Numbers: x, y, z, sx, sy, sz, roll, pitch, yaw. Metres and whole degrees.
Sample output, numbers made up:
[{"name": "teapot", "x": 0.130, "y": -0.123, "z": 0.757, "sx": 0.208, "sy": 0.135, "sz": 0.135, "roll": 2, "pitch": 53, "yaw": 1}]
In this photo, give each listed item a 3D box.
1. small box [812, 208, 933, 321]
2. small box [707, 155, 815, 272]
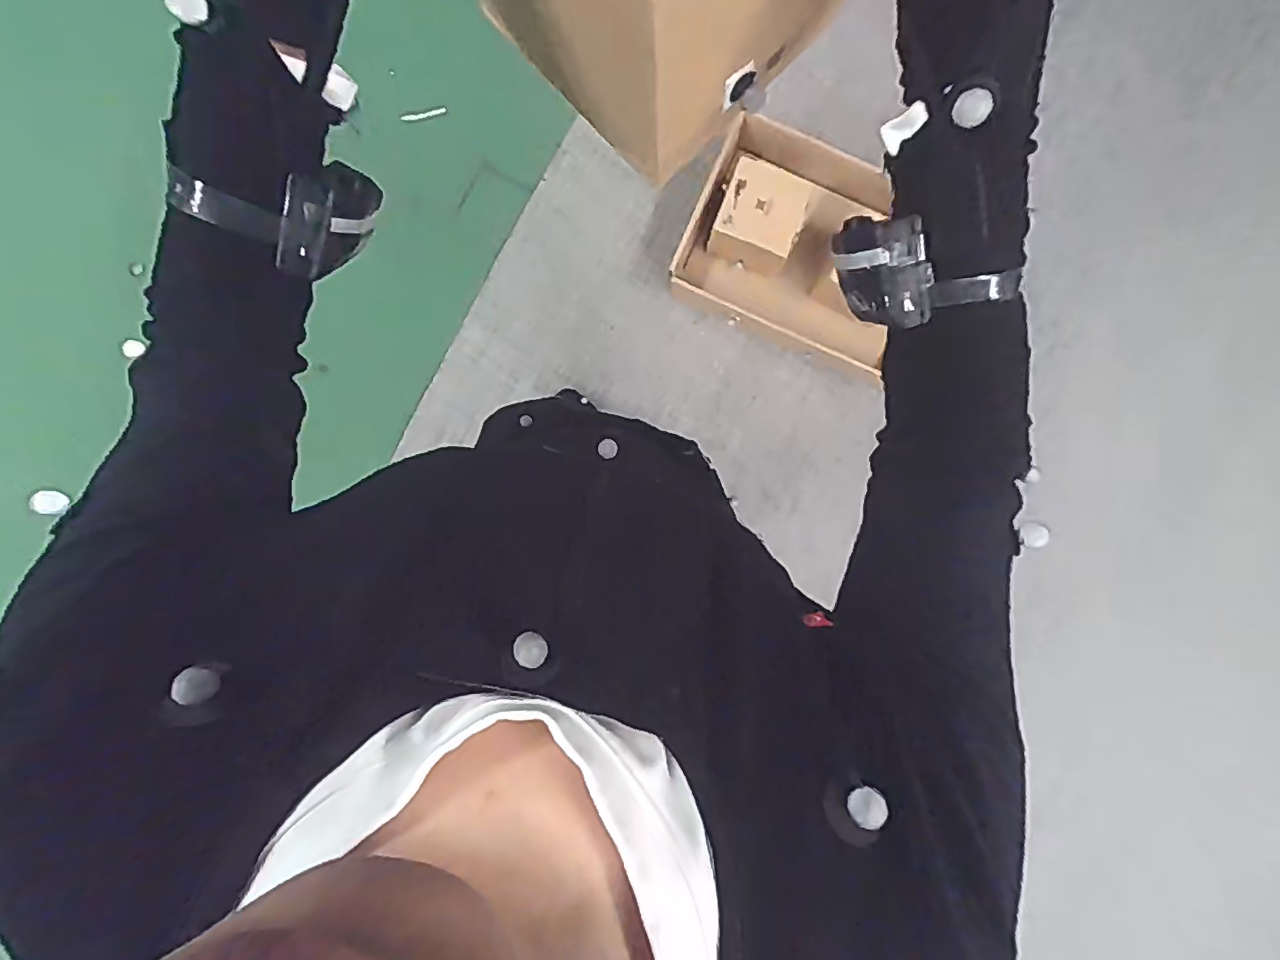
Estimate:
[{"name": "small box", "x": 0.527, "y": -0.488, "z": 1.256, "sx": 0.179, "sy": 0.176, "sz": 0.168, "roll": 27, "pitch": 96, "yaw": 0}, {"name": "small box", "x": 0.271, "y": -0.604, "z": 1.254, "sx": 0.179, "sy": 0.176, "sz": 0.168, "roll": 22, "pitch": 95, "yaw": -2}]
